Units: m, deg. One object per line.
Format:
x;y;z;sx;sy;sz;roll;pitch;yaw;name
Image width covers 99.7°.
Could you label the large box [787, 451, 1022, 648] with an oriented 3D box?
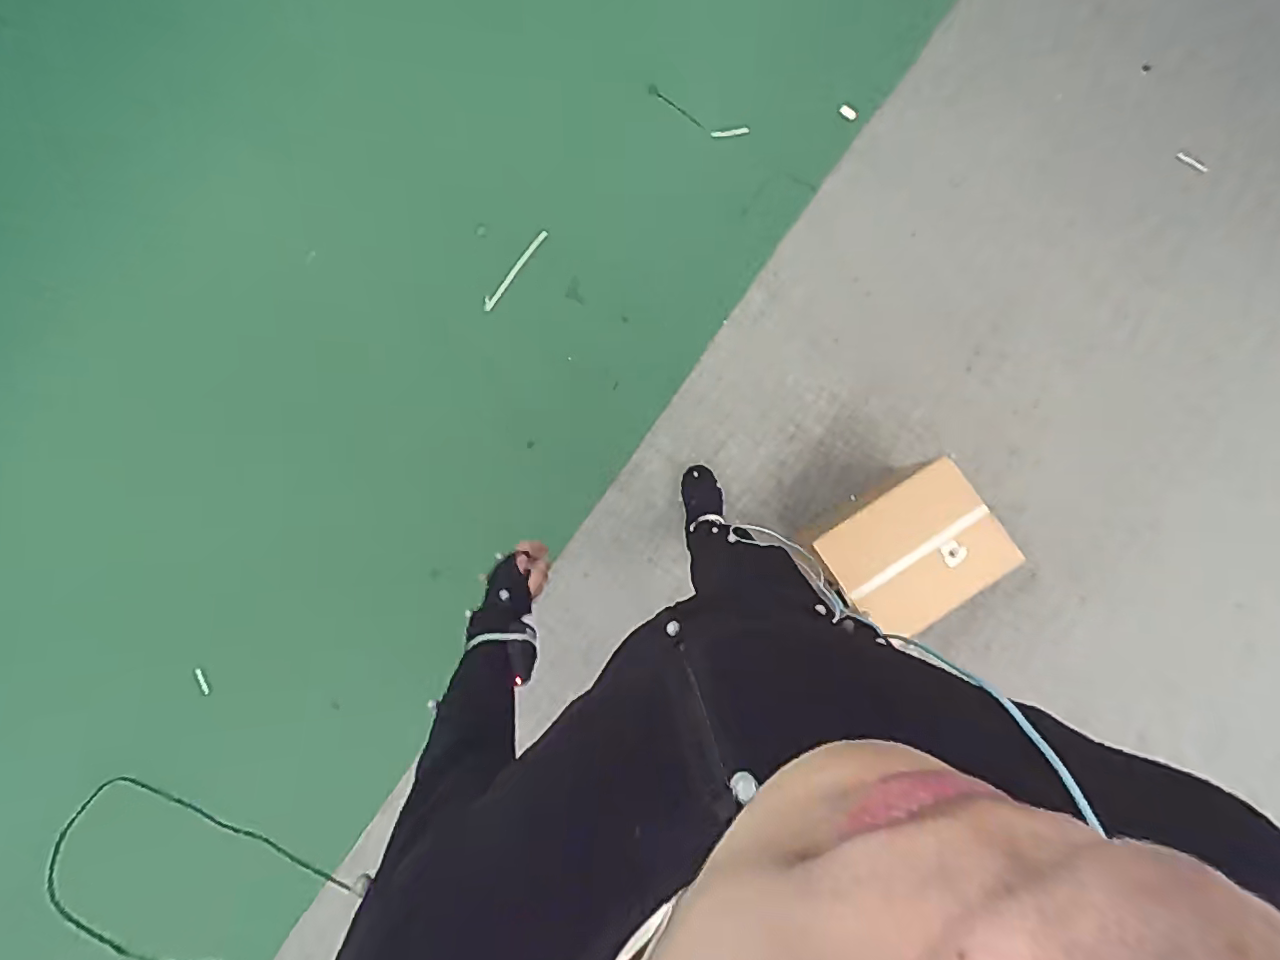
0.667;0.182;1.439;0.408;0.320;0.320;-33;84;-1;large box
